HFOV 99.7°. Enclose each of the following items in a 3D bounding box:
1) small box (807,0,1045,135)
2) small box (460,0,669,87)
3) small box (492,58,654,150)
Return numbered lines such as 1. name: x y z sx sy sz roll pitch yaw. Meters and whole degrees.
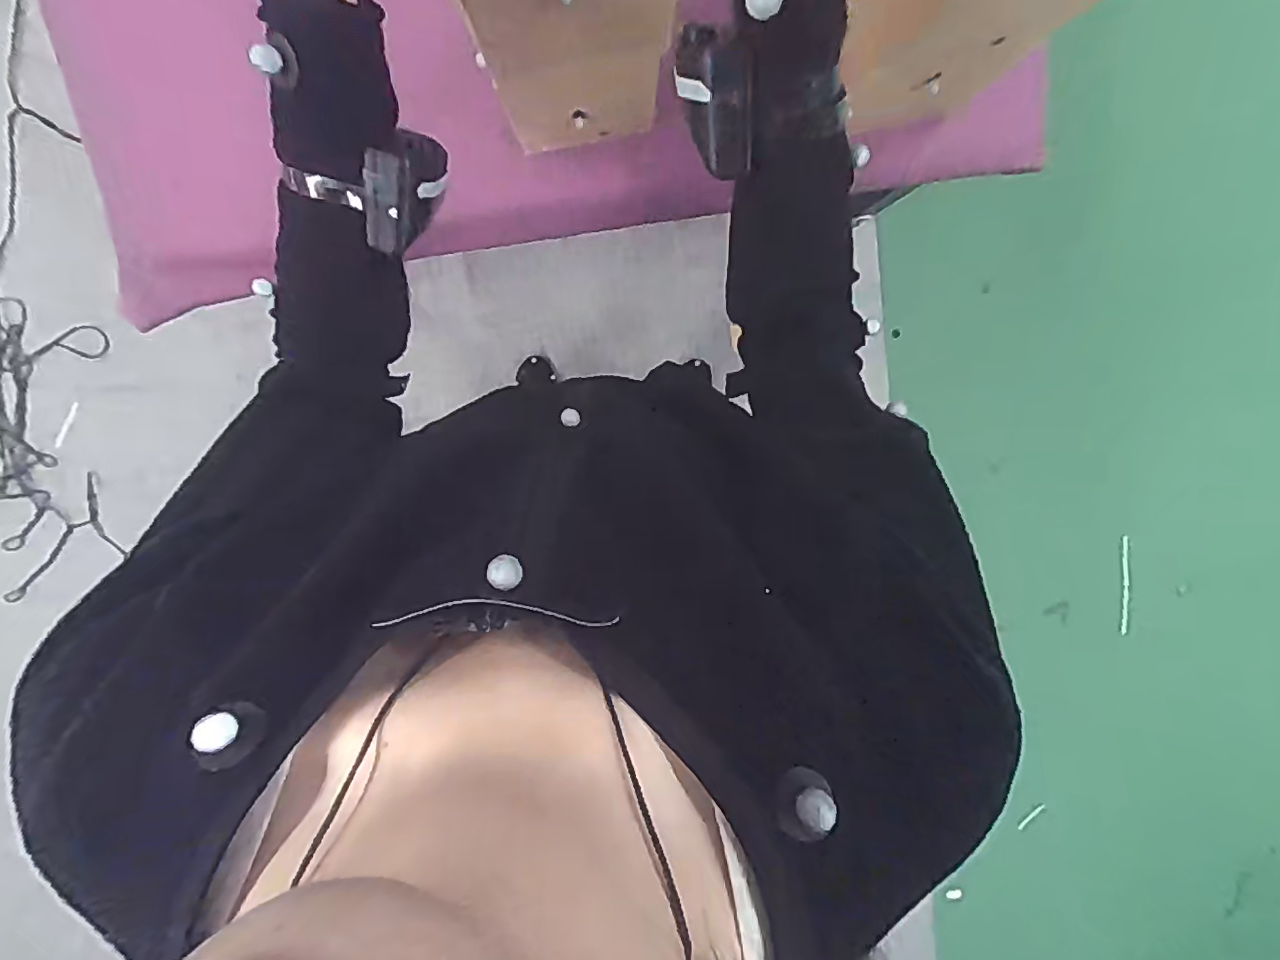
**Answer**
1. small box: 0.303 -0.516 0.598 0.179 0.176 0.168 -11 102 3
2. small box: -0.070 -0.460 0.441 0.179 0.176 0.168 -10 101 1
3. small box: -0.077 -0.495 0.600 0.168 0.176 0.179 -10 100 1
